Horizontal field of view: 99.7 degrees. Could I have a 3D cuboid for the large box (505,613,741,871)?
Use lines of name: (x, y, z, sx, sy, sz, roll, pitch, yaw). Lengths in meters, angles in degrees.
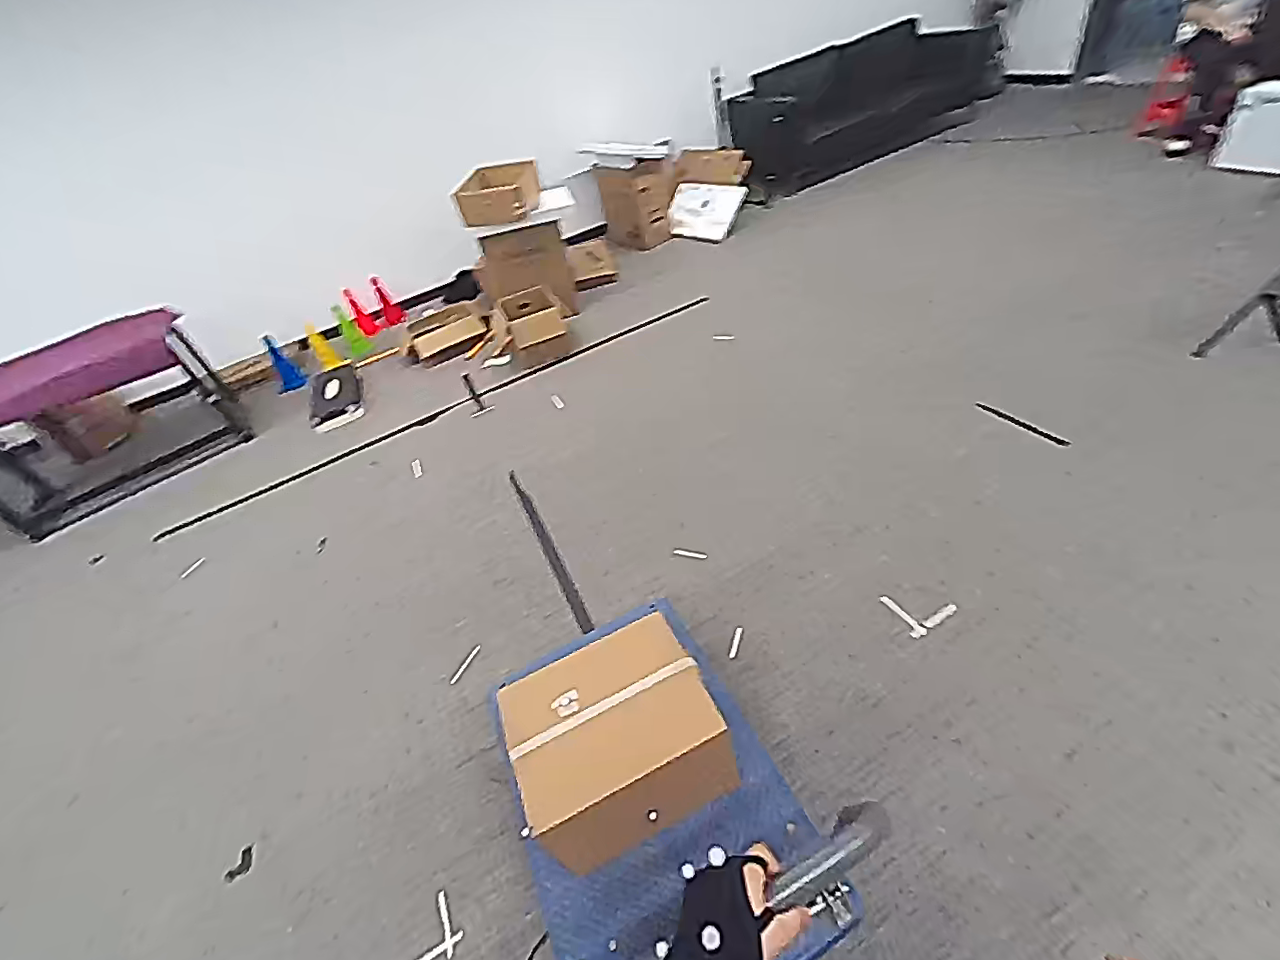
large box: (-0.031, 0.581, 1.215, 0.408, 0.320, 0.320, -25, 41, -10)
